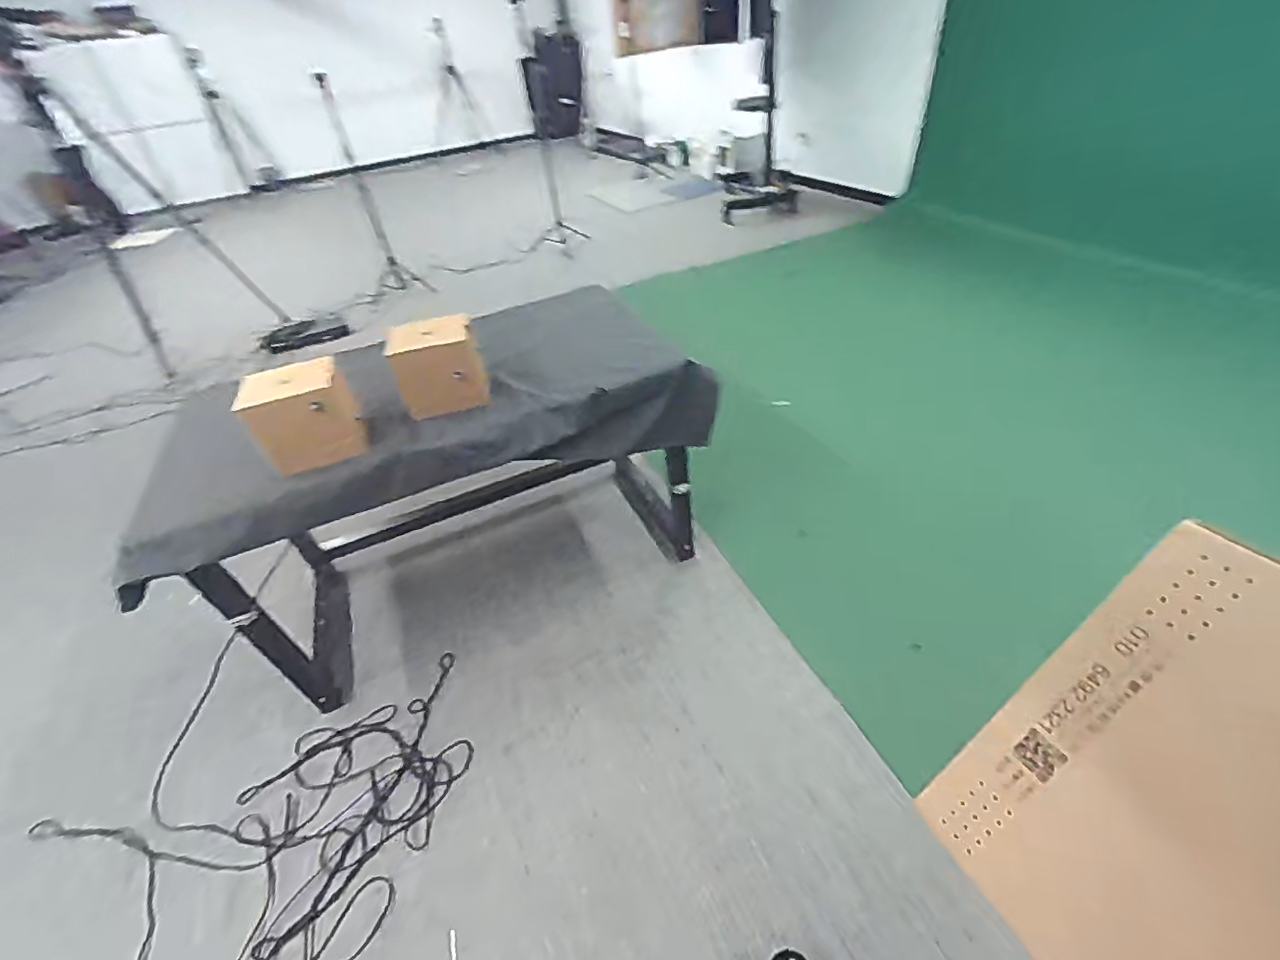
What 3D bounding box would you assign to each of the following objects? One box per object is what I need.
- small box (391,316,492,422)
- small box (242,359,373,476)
[{"bbox_3d":[-0.451,-0.258,1.263,0.179,0.176,0.168,-14,39,-6],"label":"small box"},{"bbox_3d":[-0.695,-0.132,1.152,0.179,0.176,0.168,-19,39,-13],"label":"small box"}]
